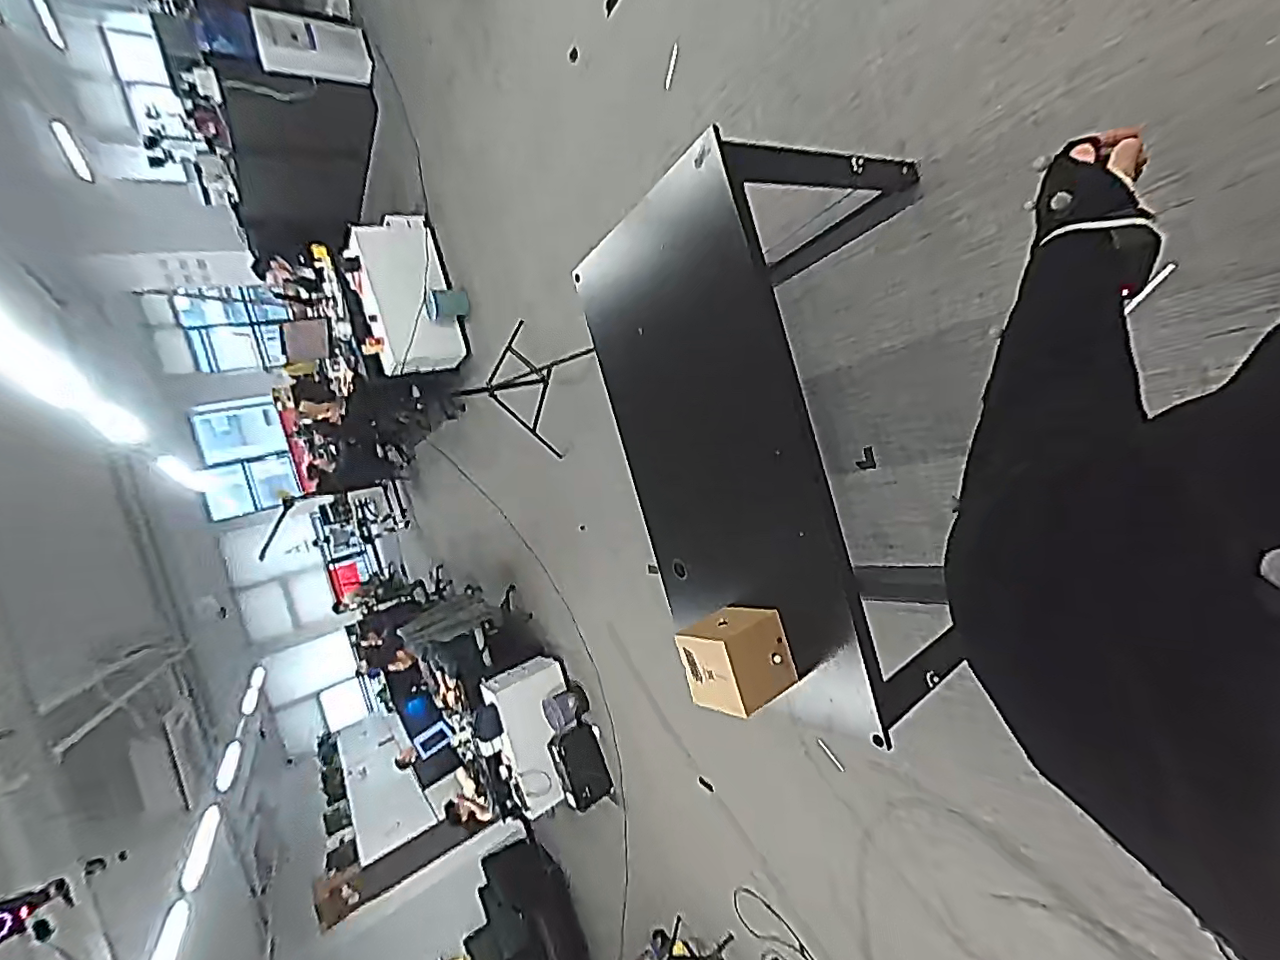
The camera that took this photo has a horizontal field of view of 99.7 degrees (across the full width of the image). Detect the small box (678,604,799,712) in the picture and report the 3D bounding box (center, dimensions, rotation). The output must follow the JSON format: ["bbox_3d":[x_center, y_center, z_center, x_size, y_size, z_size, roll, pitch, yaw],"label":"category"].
[{"bbox_3d":[0.219,0.384,1.202,0.179,0.176,0.168,-17,91,57],"label":"small box"}]
